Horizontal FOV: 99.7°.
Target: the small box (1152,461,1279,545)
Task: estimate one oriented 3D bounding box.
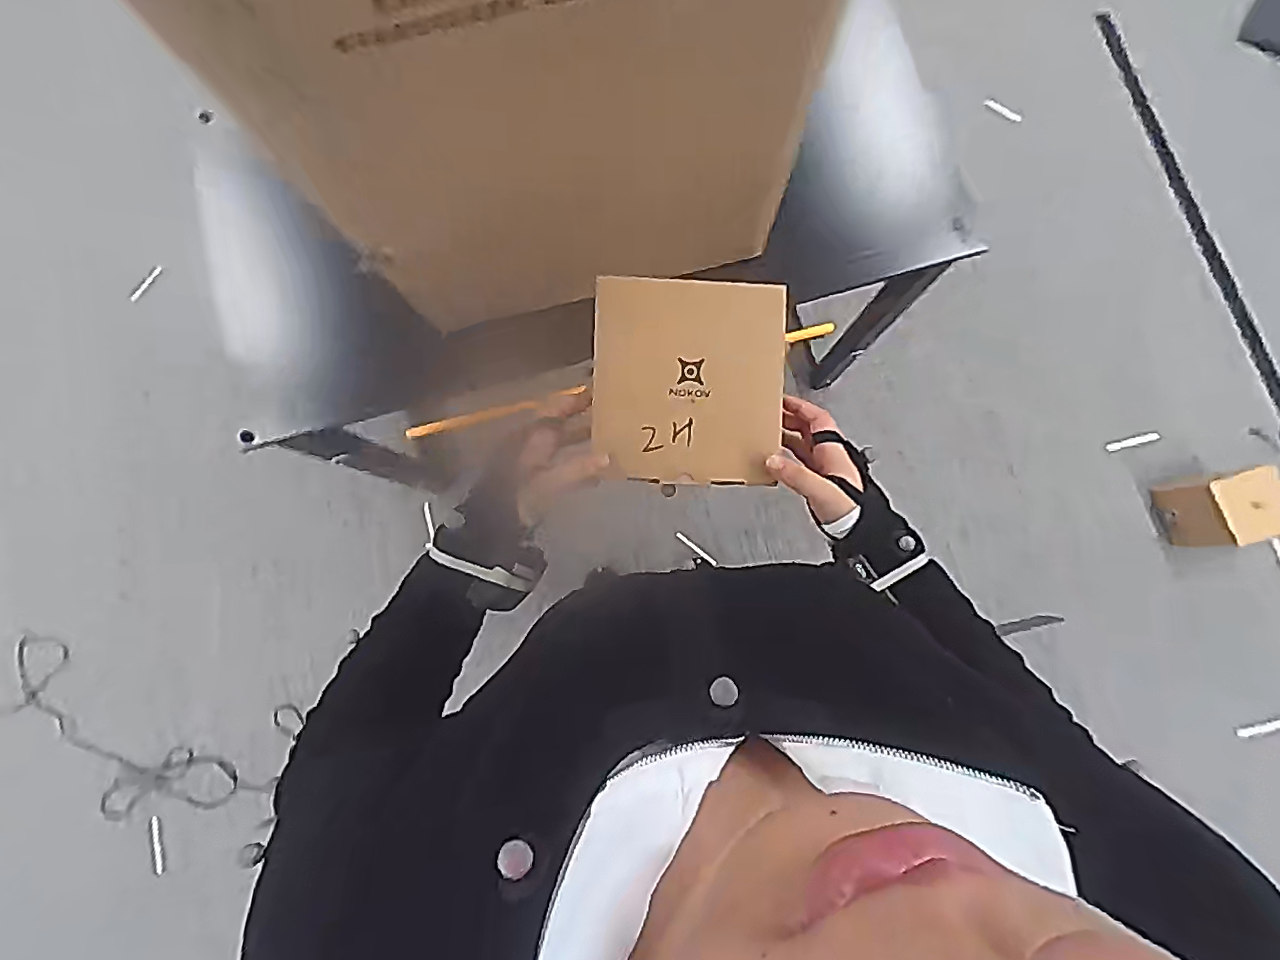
[{"bbox_3d":[1.521,0.065,1.412,0.179,0.176,0.168,-19,80,0],"label":"small box"}]
